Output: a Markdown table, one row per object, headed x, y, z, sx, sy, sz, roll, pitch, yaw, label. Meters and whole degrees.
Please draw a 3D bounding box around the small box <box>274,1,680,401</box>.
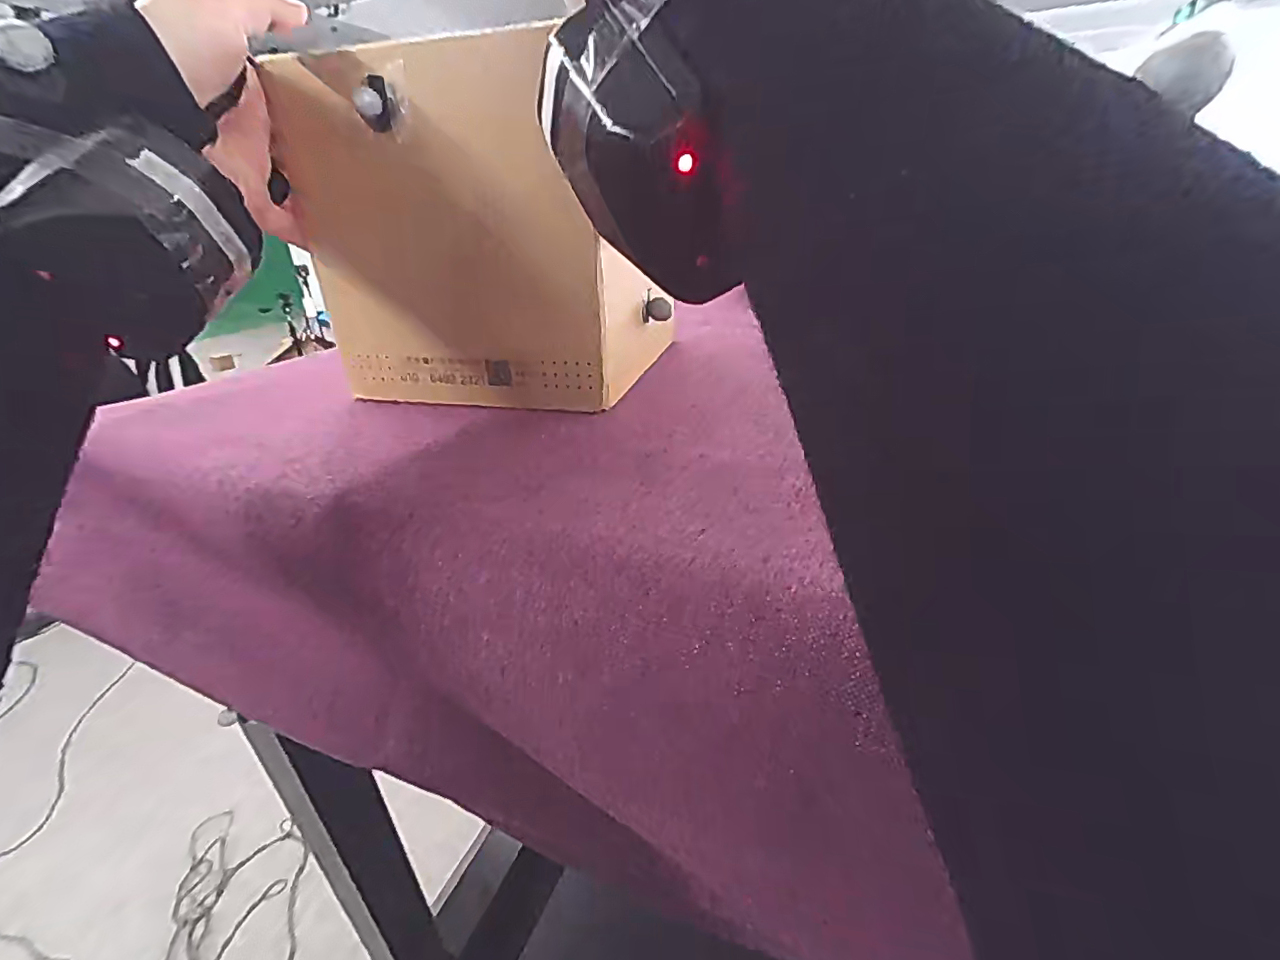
| x | y | z | sx | sy | sz | roll | pitch | yaw | label |
| --- | --- | --- | --- | --- | --- | --- | --- | --- | --- |
| -0.073 | -0.159 | 0.341 | 0.168 | 0.176 | 0.179 | 5 | 27 | 14 | small box |
